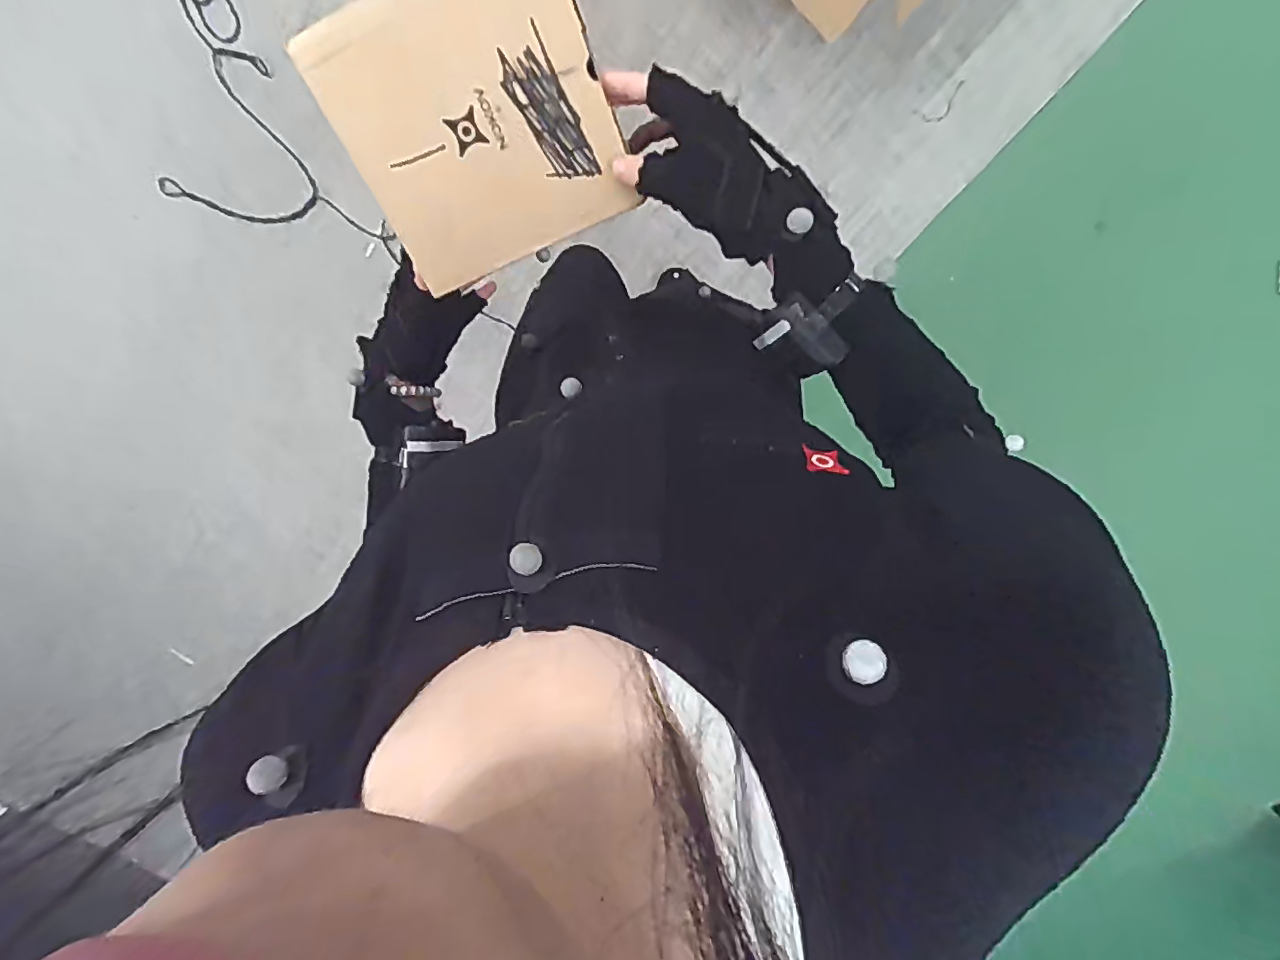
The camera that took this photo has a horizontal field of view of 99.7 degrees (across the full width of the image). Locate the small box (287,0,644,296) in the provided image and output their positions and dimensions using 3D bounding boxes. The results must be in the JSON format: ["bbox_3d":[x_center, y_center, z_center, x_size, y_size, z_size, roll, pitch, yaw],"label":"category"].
[{"bbox_3d":[-0.111,-0.270,0.420,0.179,0.176,0.168,-20,120,8],"label":"small box"}]
